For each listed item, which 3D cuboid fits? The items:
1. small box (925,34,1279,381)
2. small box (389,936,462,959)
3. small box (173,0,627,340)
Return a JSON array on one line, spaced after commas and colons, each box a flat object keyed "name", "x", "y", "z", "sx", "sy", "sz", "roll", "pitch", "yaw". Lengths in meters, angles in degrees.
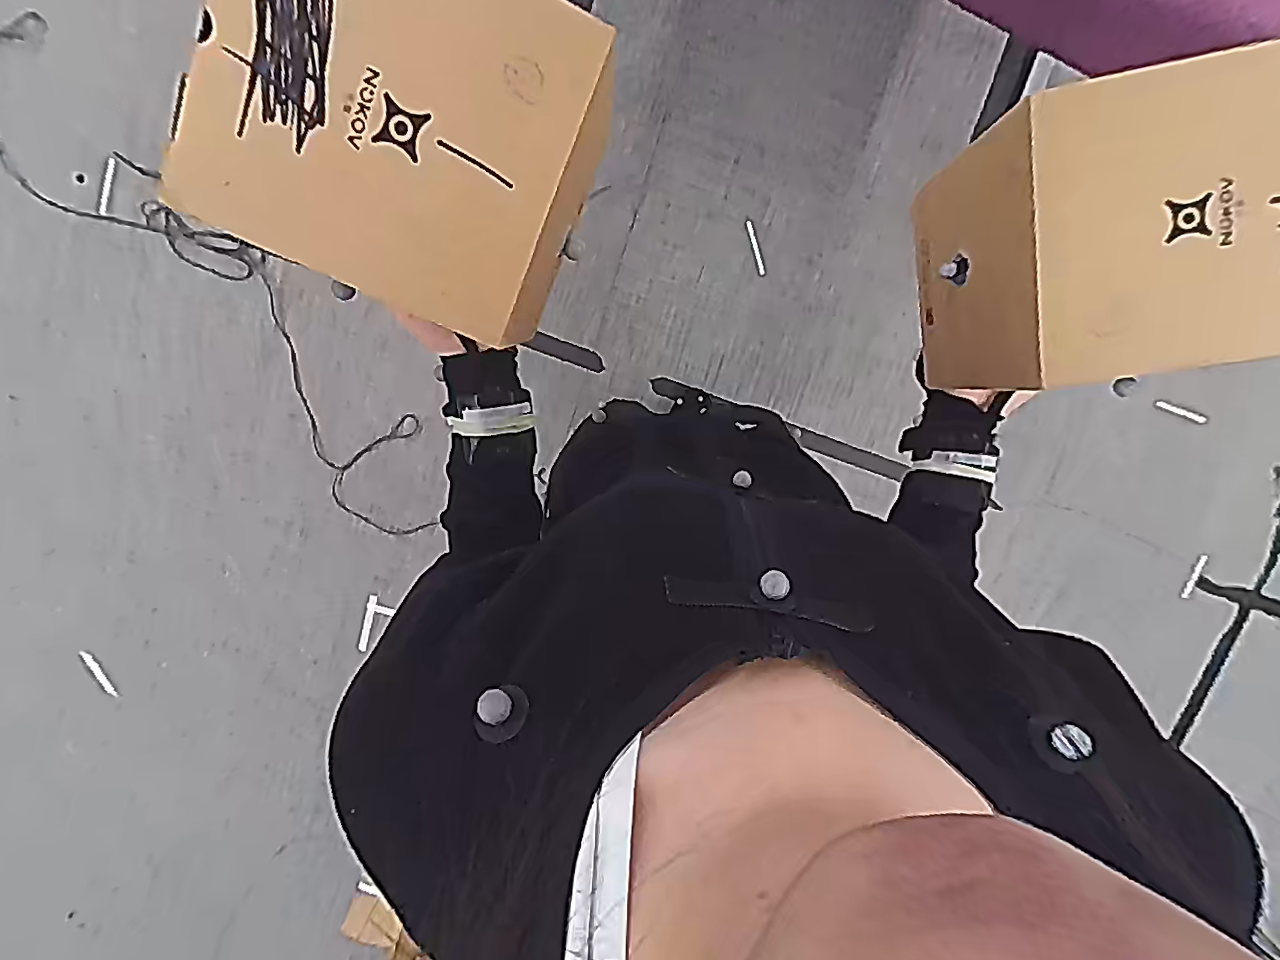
[{"name": "small box", "x": 0.320, "y": -0.163, "z": 0.379, "sx": 0.179, "sy": 0.176, "sz": 0.168, "roll": -8, "pitch": 100, "yaw": 7}, {"name": "small box", "x": -0.477, "y": 1.106, "z": 1.118, "sx": 0.168, "sy": 0.176, "sz": 0.179, "roll": 23, "pitch": 98, "yaw": -5}, {"name": "small box", "x": -0.124, "y": -0.199, "z": 0.338, "sx": 0.179, "sy": 0.176, "sz": 0.168, "roll": 22, "pitch": 104, "yaw": -11}]
